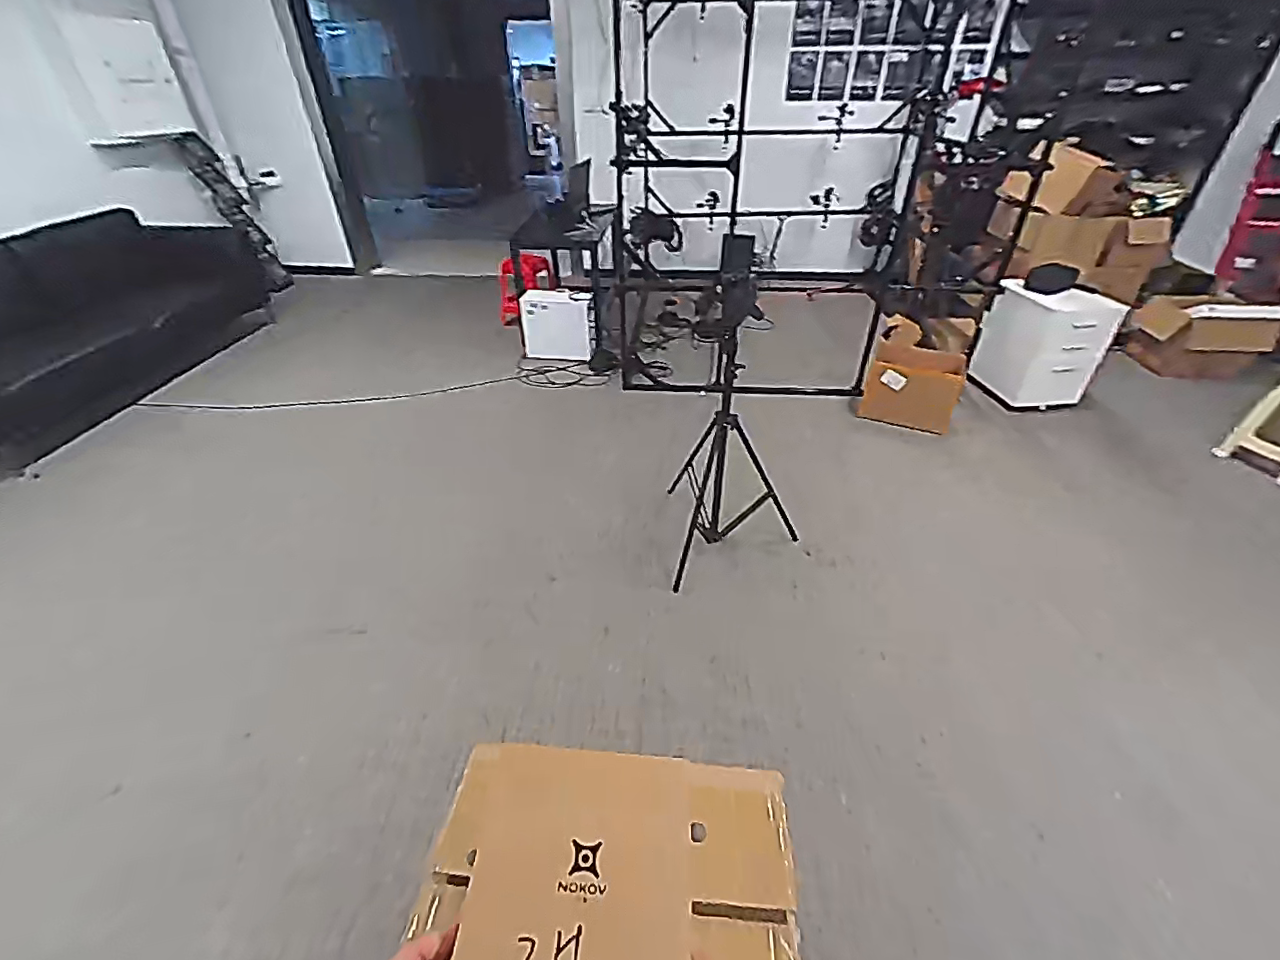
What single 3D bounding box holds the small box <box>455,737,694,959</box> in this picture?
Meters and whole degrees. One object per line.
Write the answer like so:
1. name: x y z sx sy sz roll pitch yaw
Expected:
1. small box: -0.046 0.350 0.464 0.168 0.176 0.179 4 43 0
